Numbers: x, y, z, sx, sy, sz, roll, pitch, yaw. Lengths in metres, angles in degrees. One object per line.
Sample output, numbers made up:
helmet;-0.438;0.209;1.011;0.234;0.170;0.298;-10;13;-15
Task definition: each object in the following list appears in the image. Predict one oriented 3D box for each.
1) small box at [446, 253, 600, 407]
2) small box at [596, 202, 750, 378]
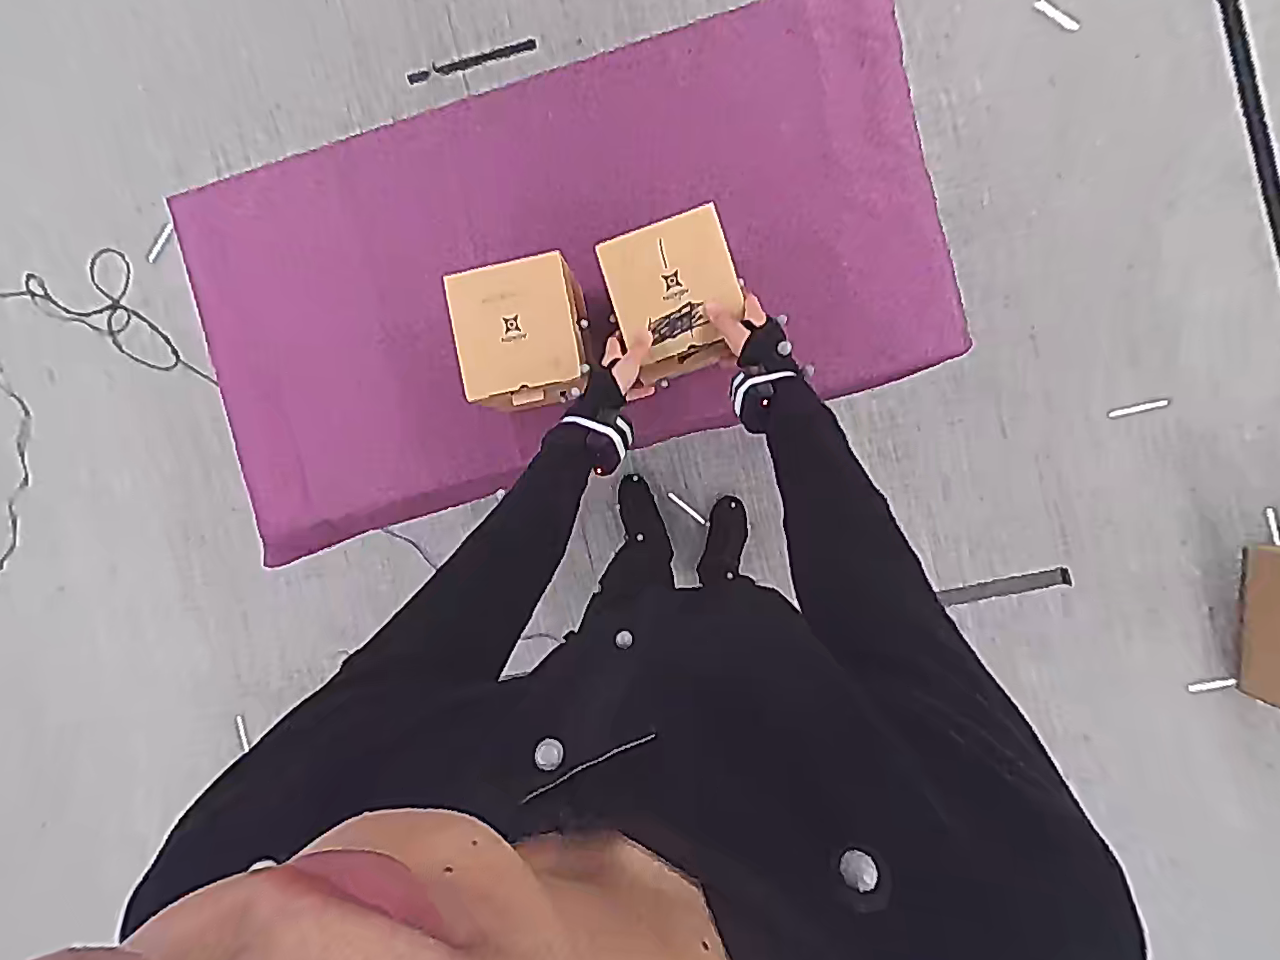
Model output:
small box;-0.163;-0.209;0.807;0.168;0.176;0.179;-10;92;5
small box;0.051;-0.256;0.784;0.168;0.176;0.179;-18;90;6
